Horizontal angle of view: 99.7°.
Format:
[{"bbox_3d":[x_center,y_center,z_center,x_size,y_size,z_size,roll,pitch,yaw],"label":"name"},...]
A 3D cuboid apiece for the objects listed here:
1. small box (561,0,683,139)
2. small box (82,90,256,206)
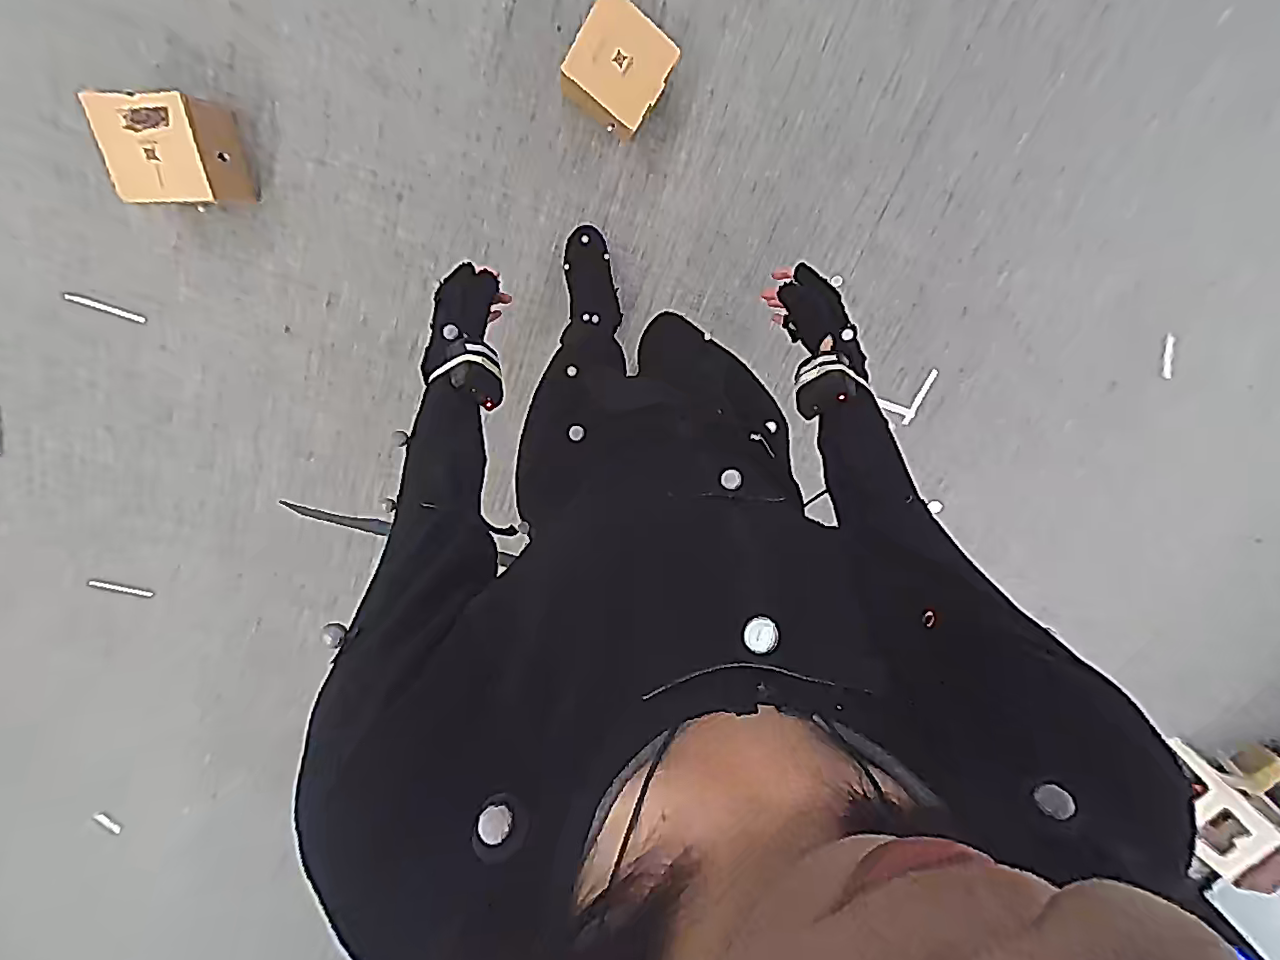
[{"bbox_3d":[-0.043,-0.821,1.087,0.179,0.176,0.168,30,107,-19],"label":"small box"},{"bbox_3d":[-0.895,-0.633,1.049,0.168,0.176,0.179,-4,117,-6],"label":"small box"}]
